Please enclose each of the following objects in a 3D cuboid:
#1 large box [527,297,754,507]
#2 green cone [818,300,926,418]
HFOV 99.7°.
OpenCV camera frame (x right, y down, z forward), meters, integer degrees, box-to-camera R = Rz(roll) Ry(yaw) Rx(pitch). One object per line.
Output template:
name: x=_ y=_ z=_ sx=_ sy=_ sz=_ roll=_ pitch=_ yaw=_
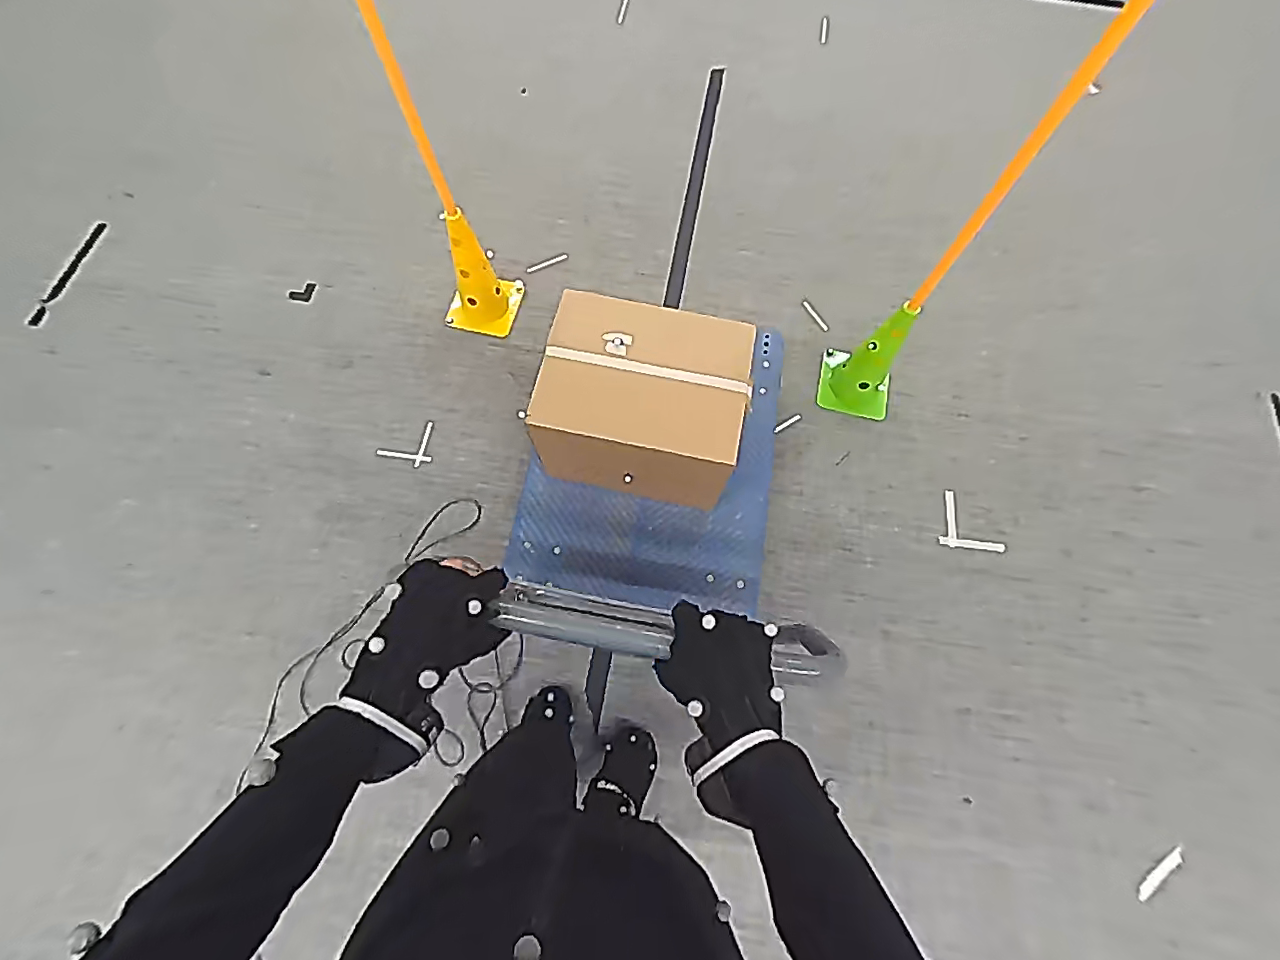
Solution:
large box: x=0.009 y=-0.154 z=1.199 sx=0.408 sy=0.320 sz=0.320 roll=12 pitch=71 yaw=4
green cone: x=0.640 y=-0.344 z=1.434 sx=0.202 sy=0.368 sz=0.200 roll=14 pitch=71 yaw=2
